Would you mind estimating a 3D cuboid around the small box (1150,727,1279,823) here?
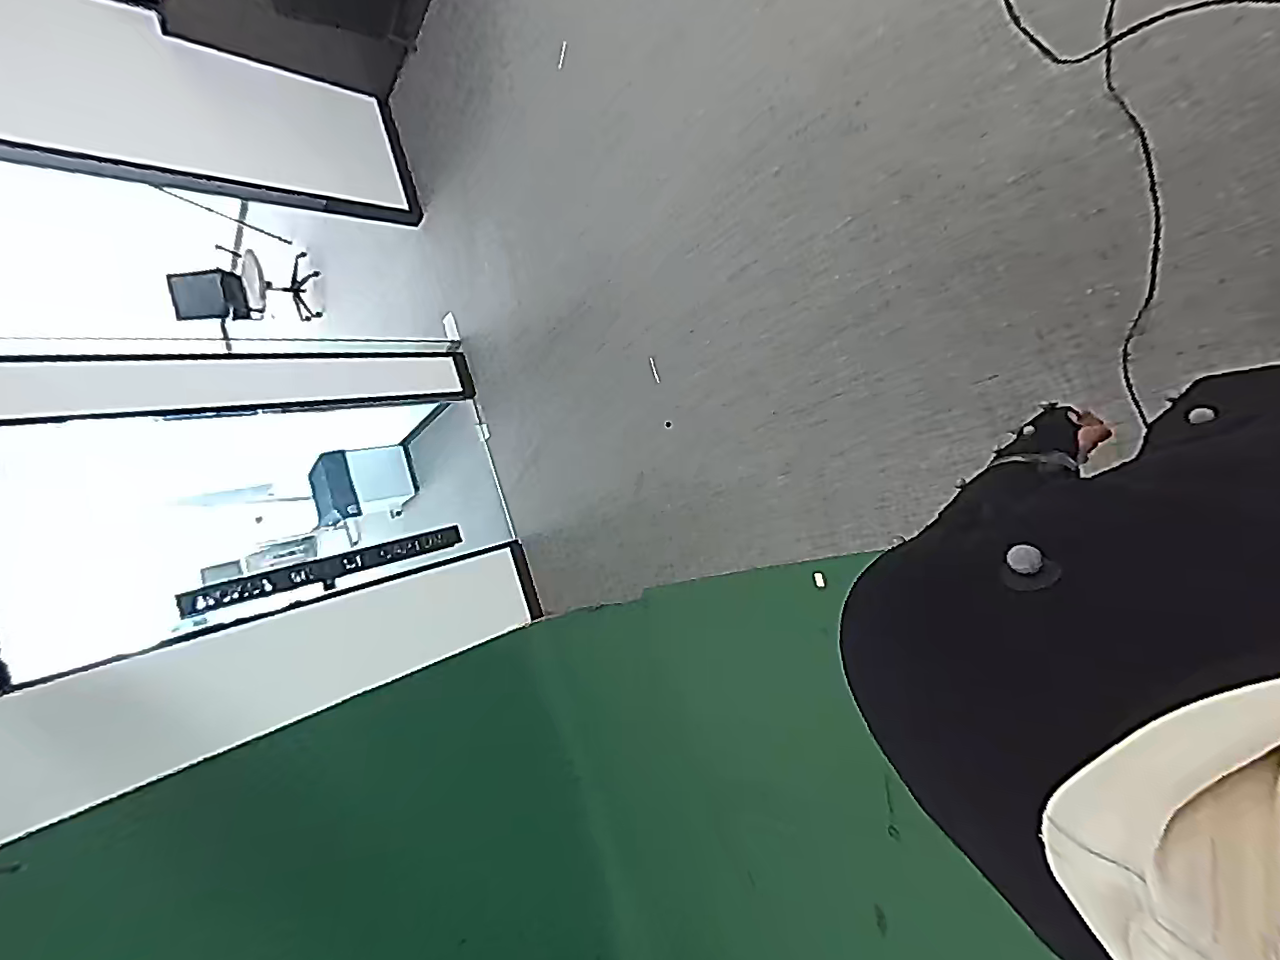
[{"bbox_3d":[1.117,0.594,1.031,0.168,0.176,0.179,-24,81,47],"label":"small box"}]
